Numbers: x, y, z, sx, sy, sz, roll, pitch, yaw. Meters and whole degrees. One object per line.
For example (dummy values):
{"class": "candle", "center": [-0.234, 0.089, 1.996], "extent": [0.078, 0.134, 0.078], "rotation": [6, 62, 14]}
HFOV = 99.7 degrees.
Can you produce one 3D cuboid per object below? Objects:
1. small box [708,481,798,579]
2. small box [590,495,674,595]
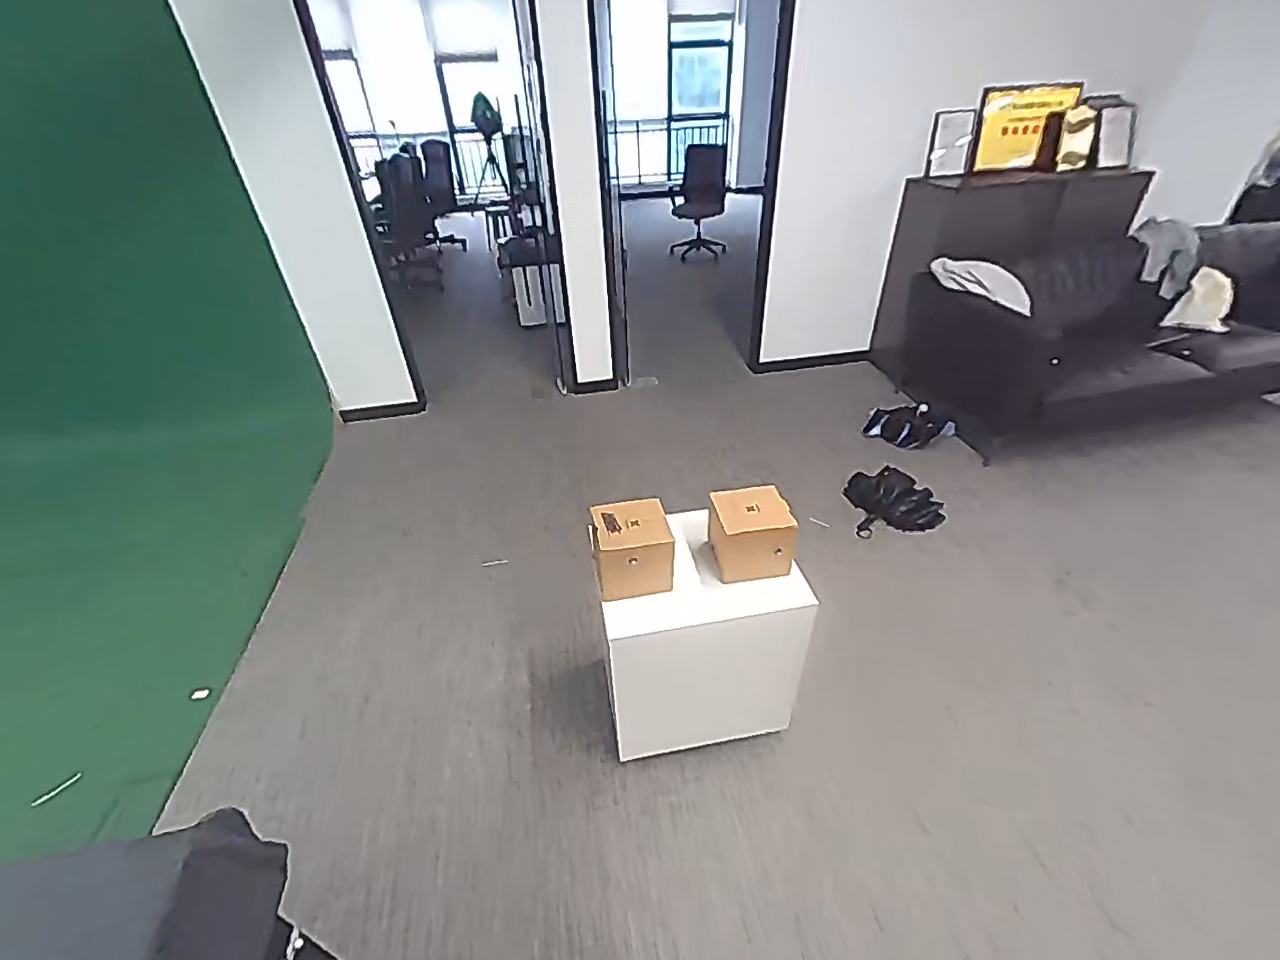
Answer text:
{"class": "small box", "center": [0.274, 0.126, 1.353], "extent": [0.179, 0.176, 0.168], "rotation": [-8, 36, -5]}
{"class": "small box", "center": [-0.020, 0.161, 1.318], "extent": [0.179, 0.176, 0.168], "rotation": [-7, 37, -10]}
